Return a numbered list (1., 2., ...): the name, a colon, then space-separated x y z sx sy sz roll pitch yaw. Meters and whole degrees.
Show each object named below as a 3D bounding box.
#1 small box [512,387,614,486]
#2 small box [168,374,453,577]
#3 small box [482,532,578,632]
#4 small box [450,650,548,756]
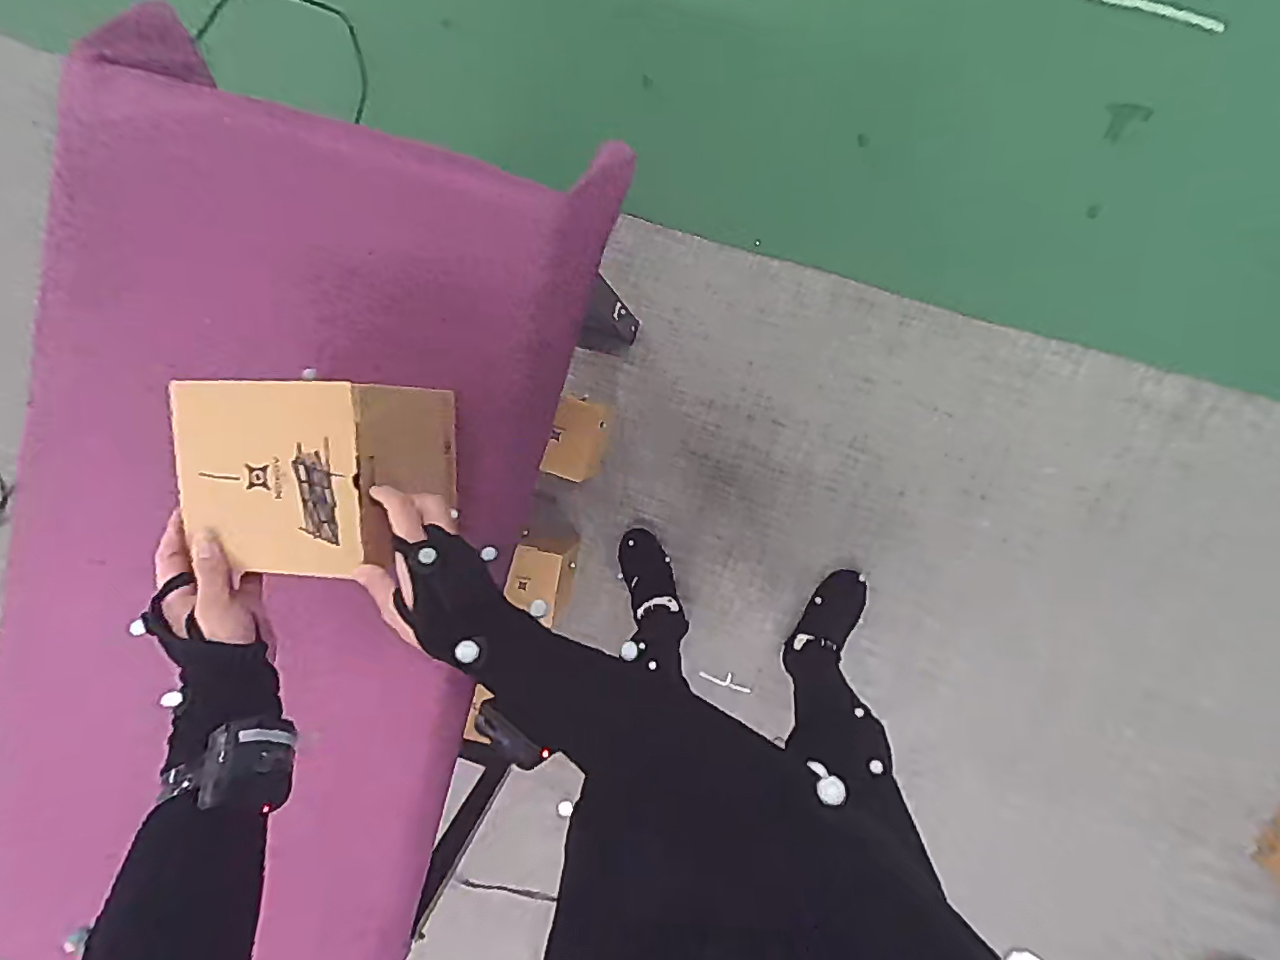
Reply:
1. small box: -0.169 -0.100 1.237 0.168 0.176 0.179 18 97 6
2. small box: -0.298 -0.013 0.526 0.179 0.176 0.168 2 96 9
3. small box: -0.252 0.232 1.281 0.168 0.176 0.179 11 98 7
4. small box: -0.337 0.536 1.320 0.179 0.176 0.168 9 97 7
